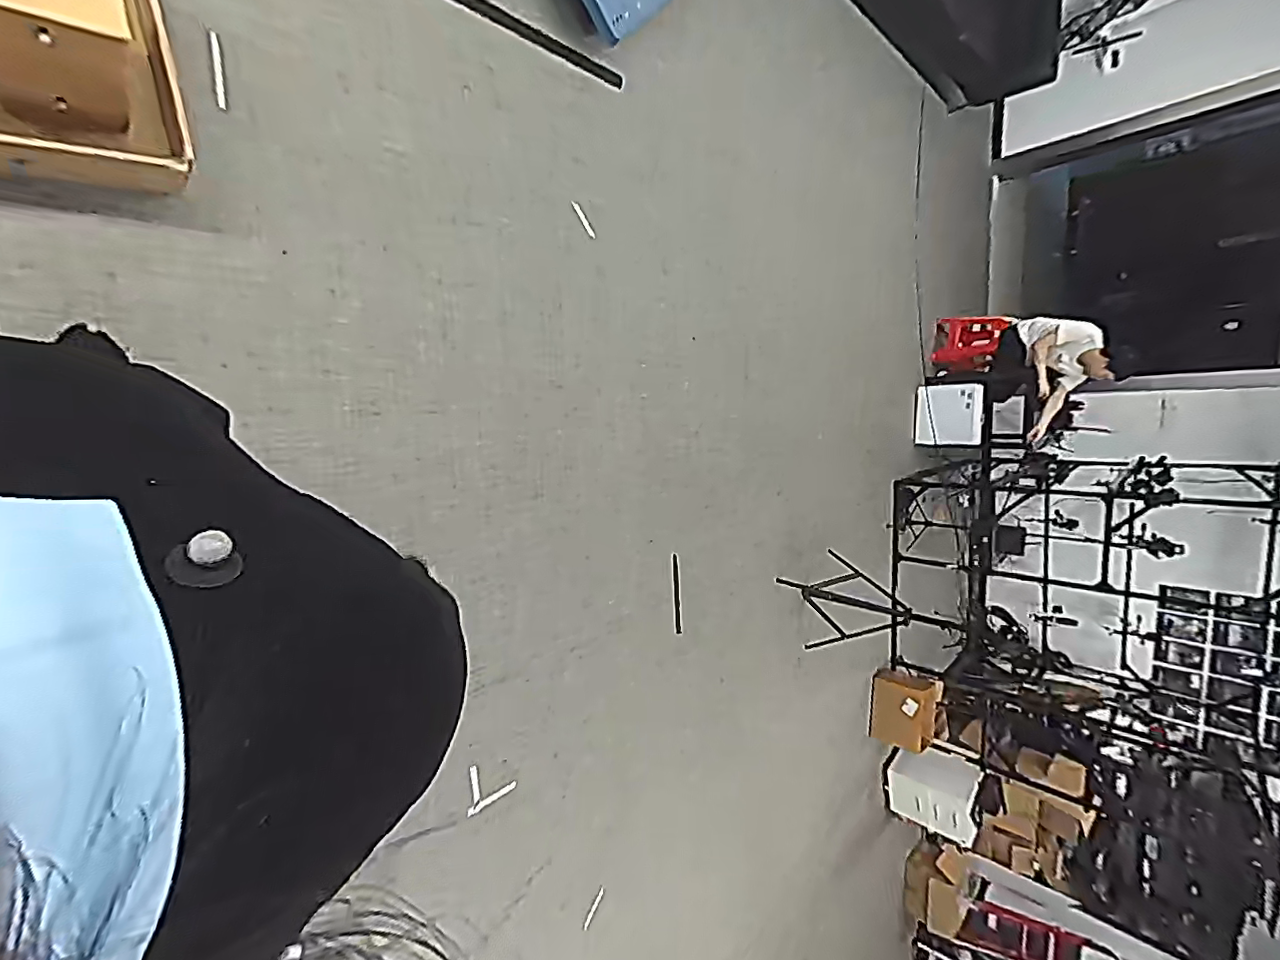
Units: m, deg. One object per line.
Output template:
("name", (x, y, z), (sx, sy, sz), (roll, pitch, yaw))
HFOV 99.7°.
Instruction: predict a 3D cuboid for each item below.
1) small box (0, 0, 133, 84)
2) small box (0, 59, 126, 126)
("small box", (-0.888, -0.728, 0.799), (0.179, 0.176, 0.168), (-14, 103, -42))
("small box", (-1.000, -0.740, 0.916), (0.168, 0.176, 0.179), (-14, 102, -43))
